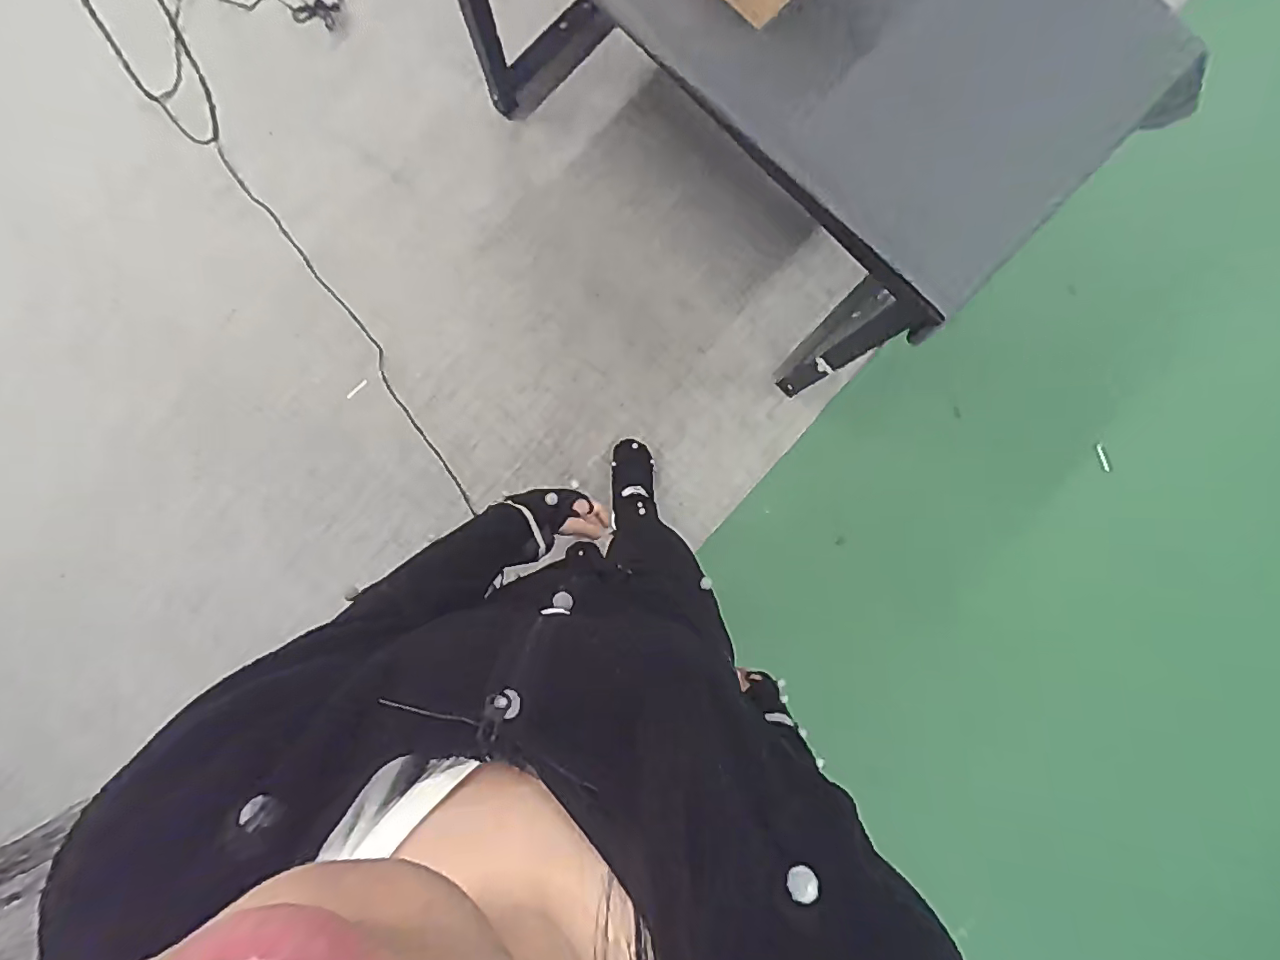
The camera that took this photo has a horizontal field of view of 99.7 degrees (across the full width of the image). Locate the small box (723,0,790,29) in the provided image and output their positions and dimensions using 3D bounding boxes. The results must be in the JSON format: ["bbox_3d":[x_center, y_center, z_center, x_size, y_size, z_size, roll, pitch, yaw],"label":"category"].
[{"bbox_3d":[0.178,-0.777,0.719,0.168,0.176,0.179,44,87,0],"label":"small box"}]
